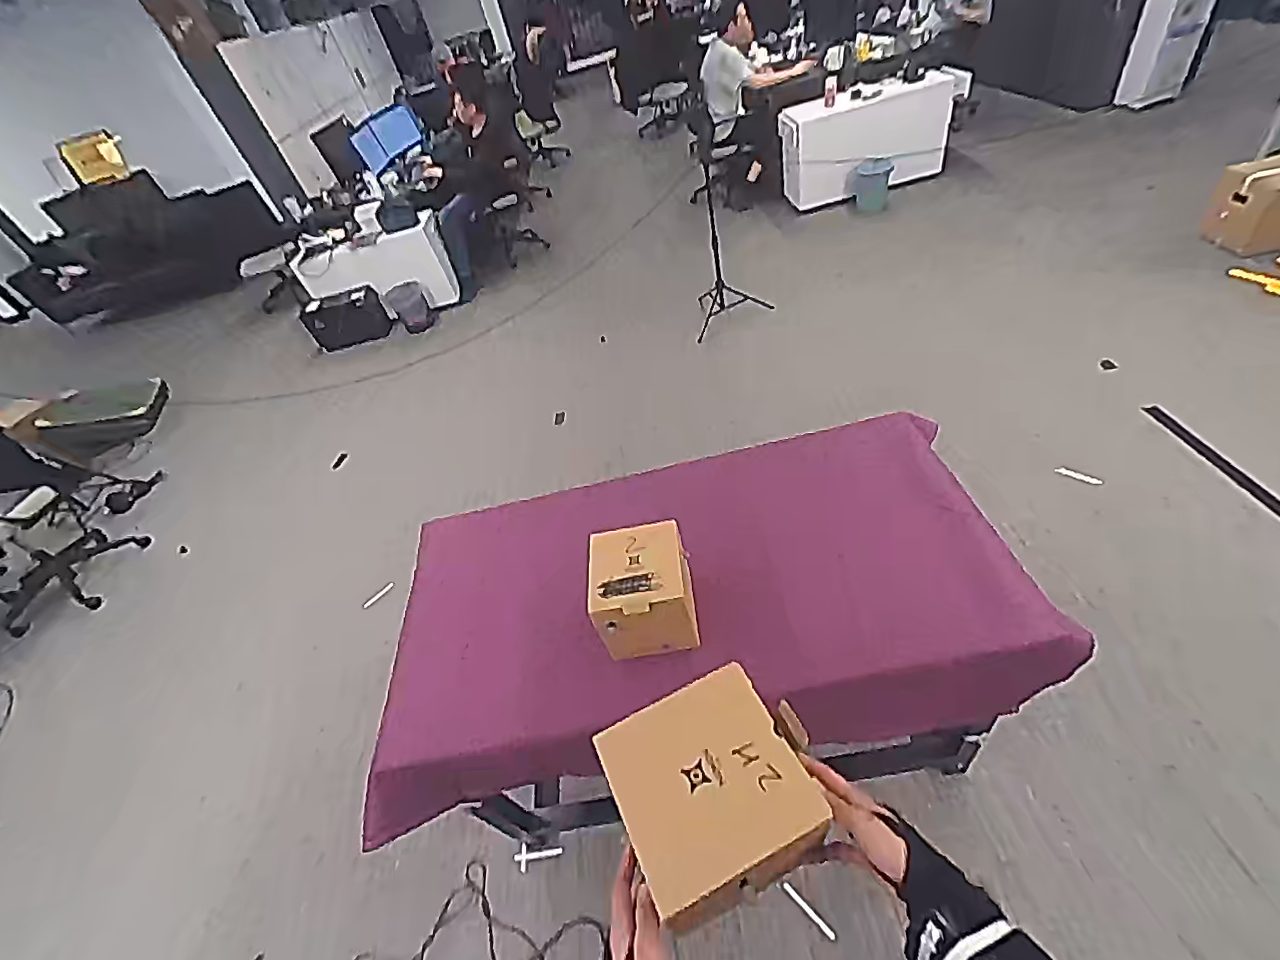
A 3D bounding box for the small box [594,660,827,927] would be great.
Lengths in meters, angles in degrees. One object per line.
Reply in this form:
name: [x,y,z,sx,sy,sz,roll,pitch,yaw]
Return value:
small box: [0.073,0.334,0.575,0.179,0.176,0.168,-23,46,-11]
